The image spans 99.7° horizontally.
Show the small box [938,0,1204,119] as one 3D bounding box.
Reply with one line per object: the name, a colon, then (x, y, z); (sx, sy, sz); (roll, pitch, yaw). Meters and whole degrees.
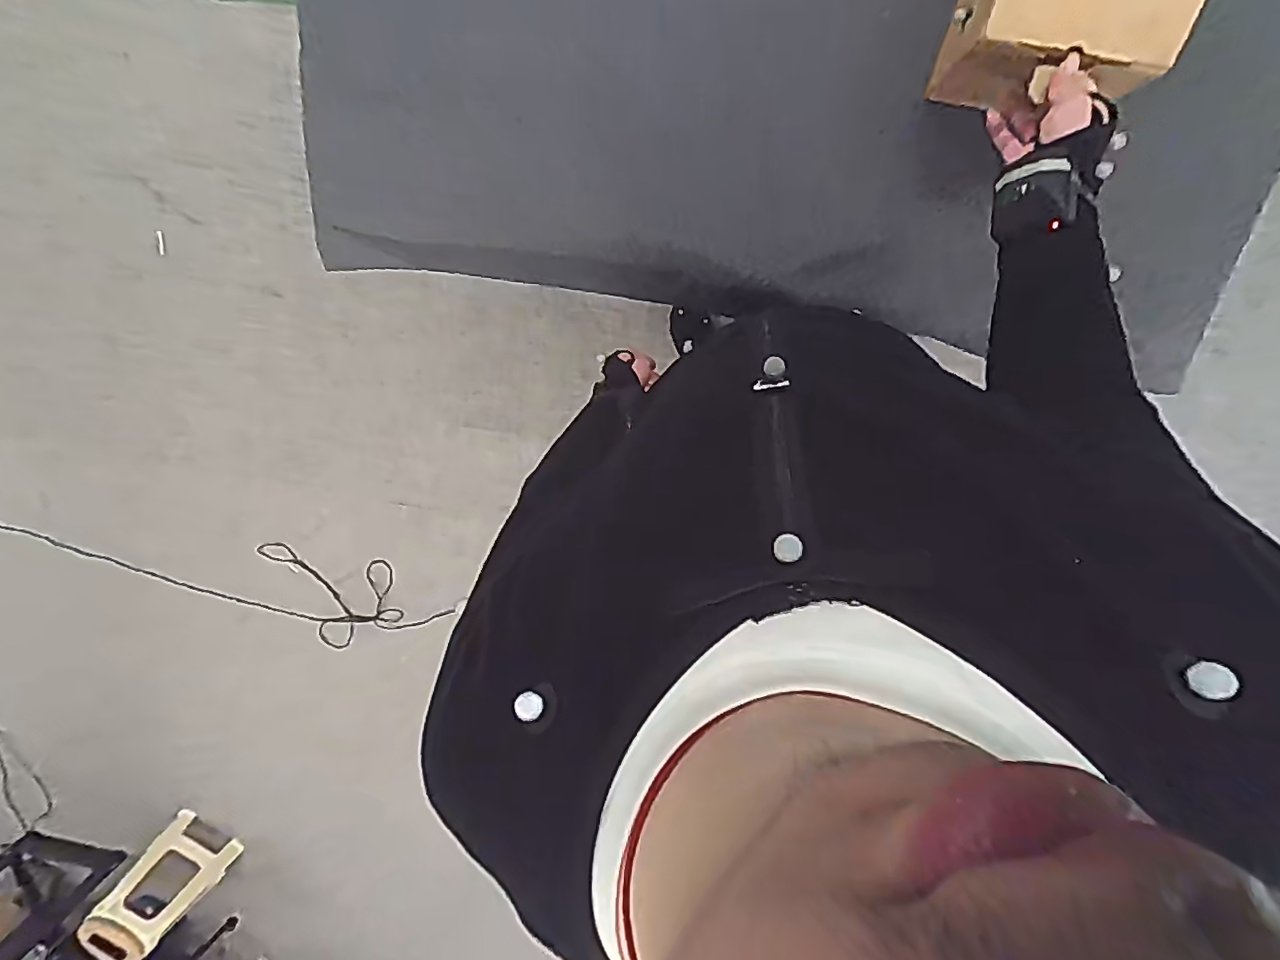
small box: (0.423, -0.485, 0.528); (0.168, 0.176, 0.179); (15, 110, 4)
